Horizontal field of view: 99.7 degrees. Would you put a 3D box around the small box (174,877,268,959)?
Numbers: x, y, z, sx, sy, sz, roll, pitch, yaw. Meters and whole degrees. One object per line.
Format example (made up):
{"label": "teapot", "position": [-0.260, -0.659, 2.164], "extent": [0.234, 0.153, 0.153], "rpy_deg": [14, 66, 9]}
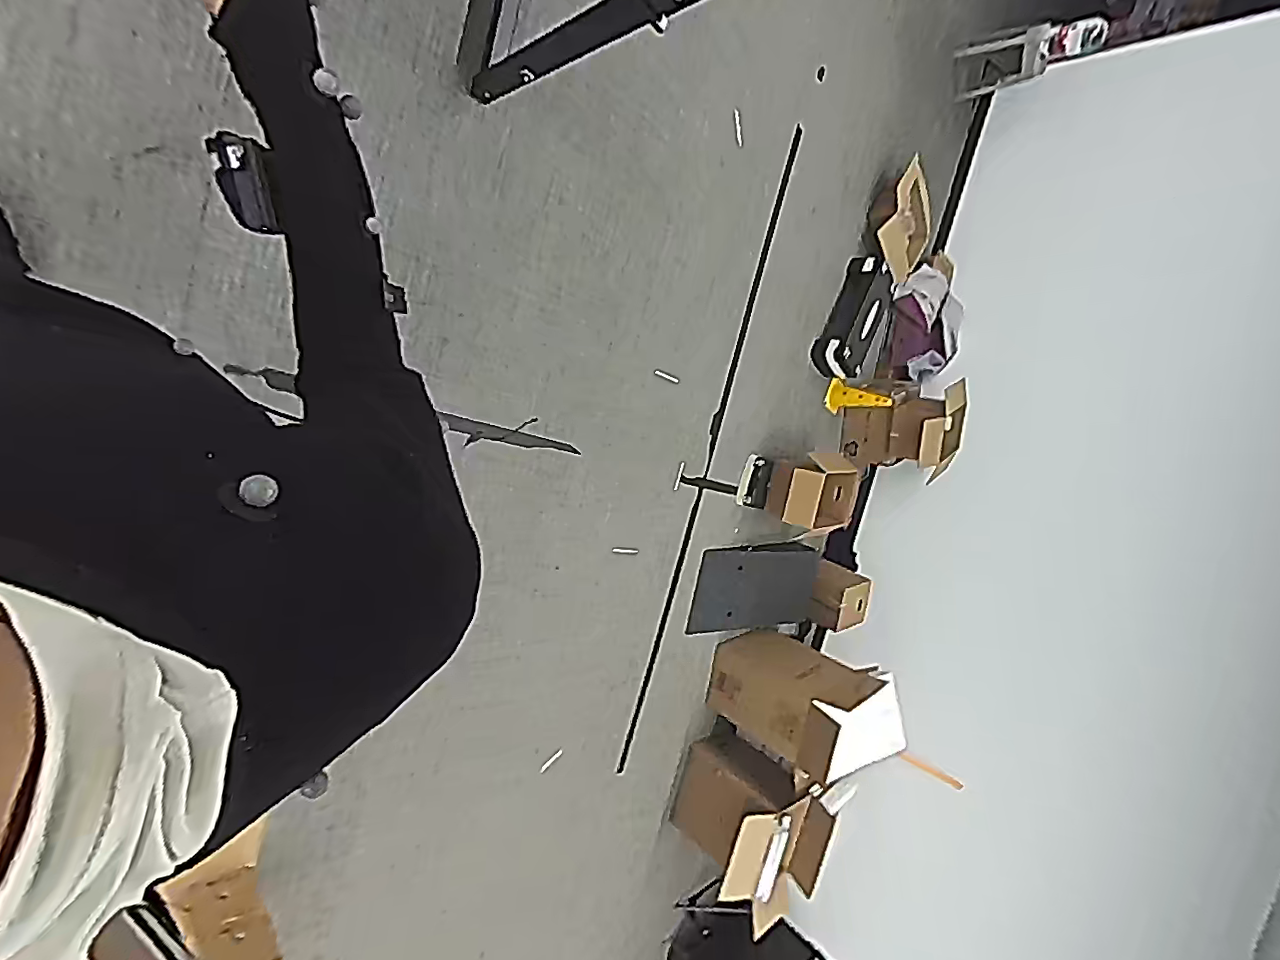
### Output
{"label": "small box", "position": [-1.177, 1.263, 1.515], "extent": [0.168, 0.176, 0.179], "rpy_deg": [14, 93, -47]}

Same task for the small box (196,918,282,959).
{"label": "small box", "position": [-1.057, 1.311, 1.410], "extent": [0.168, 0.176, 0.179], "rpy_deg": [16, 92, -48]}
